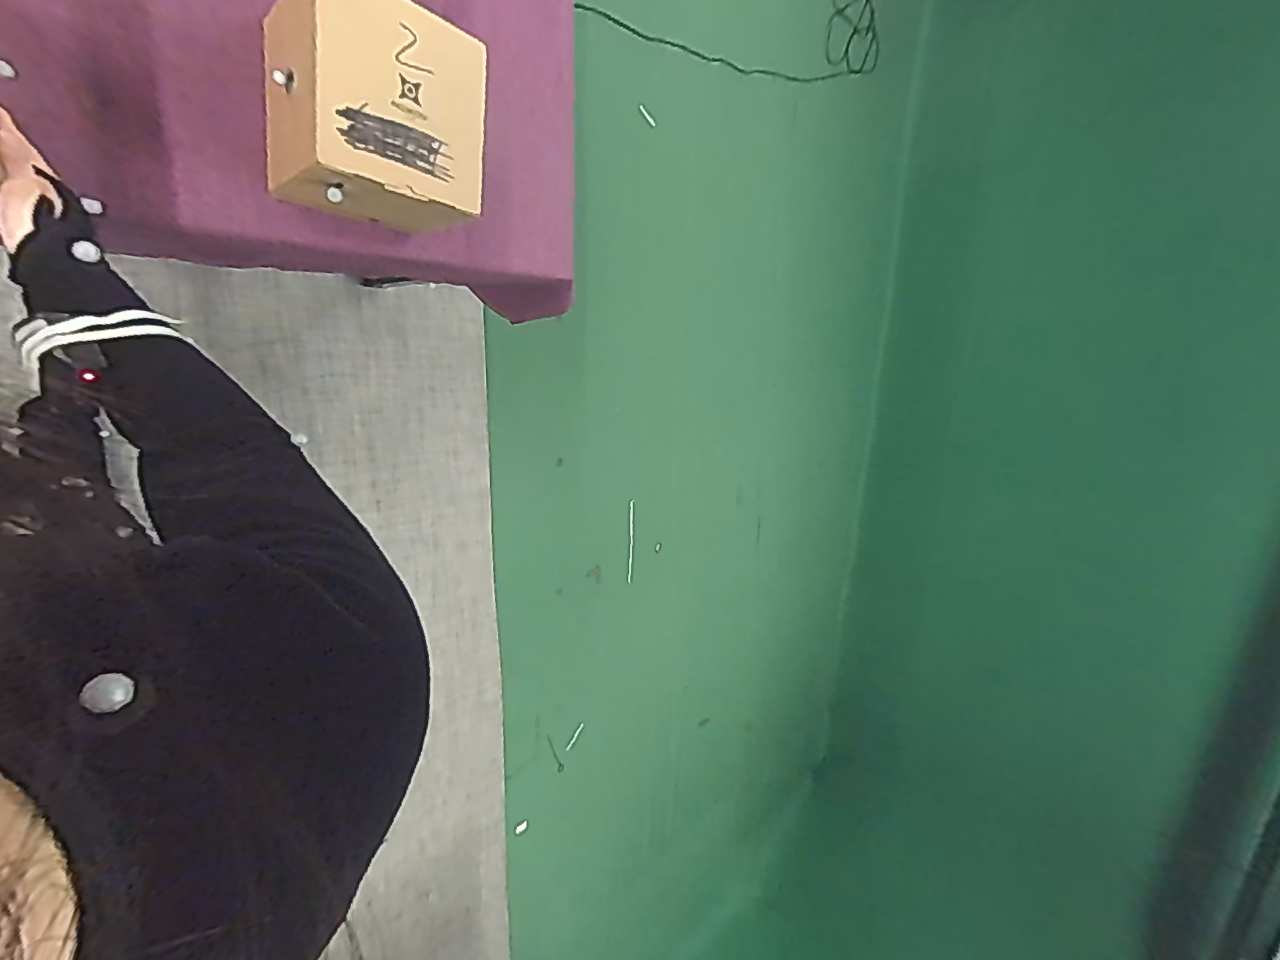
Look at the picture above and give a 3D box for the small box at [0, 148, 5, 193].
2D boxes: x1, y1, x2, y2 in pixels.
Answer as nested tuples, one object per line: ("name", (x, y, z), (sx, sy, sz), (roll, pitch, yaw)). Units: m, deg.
("small box", (-0.535, -0.299, 0.334), (0.168, 0.176, 0.179), (-10, 108, -45))
